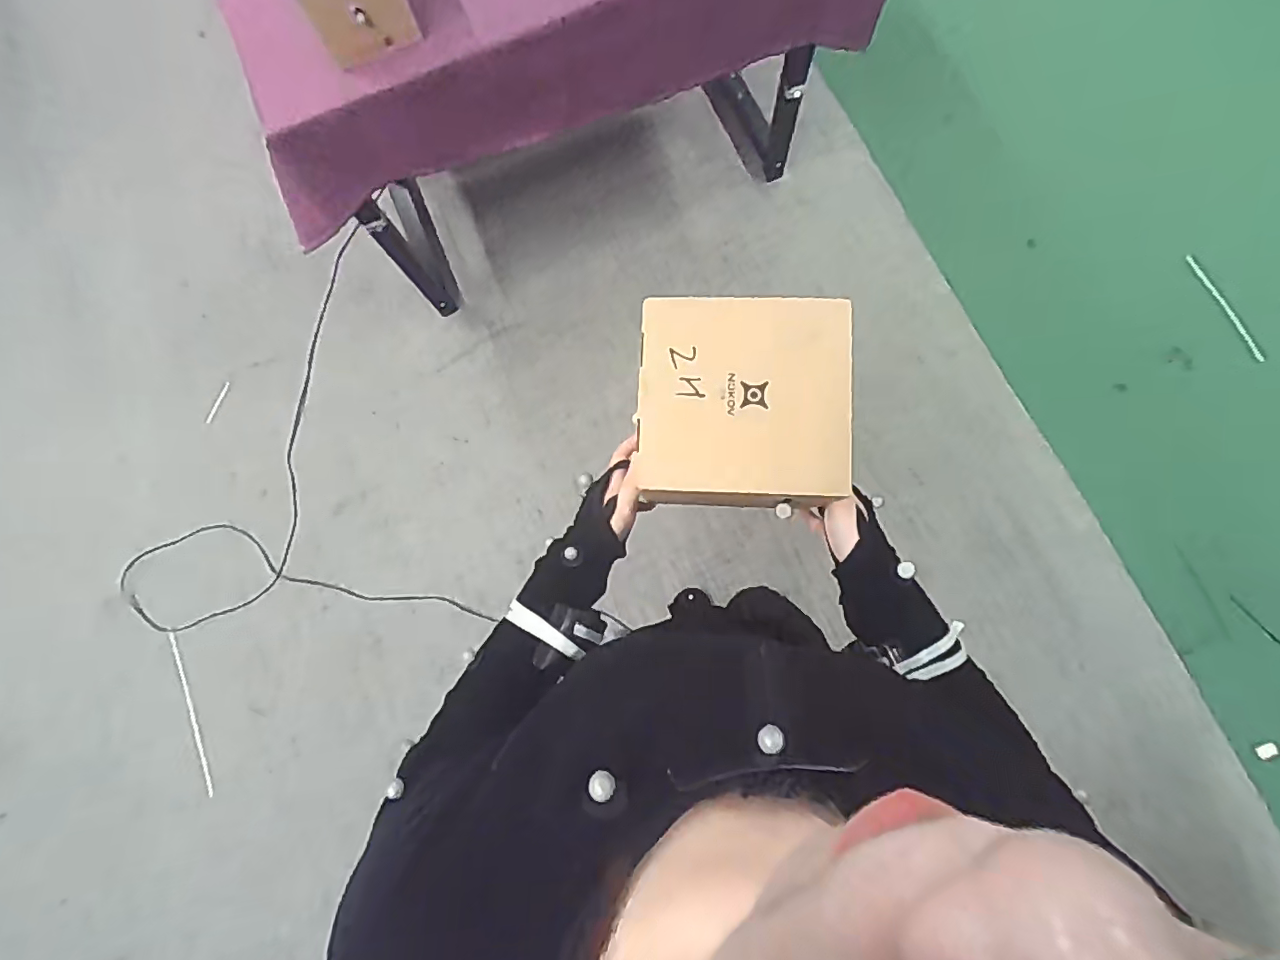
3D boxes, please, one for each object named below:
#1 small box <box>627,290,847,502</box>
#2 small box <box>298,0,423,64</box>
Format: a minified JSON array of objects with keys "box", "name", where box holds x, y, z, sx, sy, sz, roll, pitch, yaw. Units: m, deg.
[{"box":[0.087,-0.068,0.523,0.179,0.176,0.168,2,84,6],"name":"small box"},{"box":[-0.512,-0.884,0.954,0.168,0.176,0.179,-23,78,-1],"name":"small box"}]
